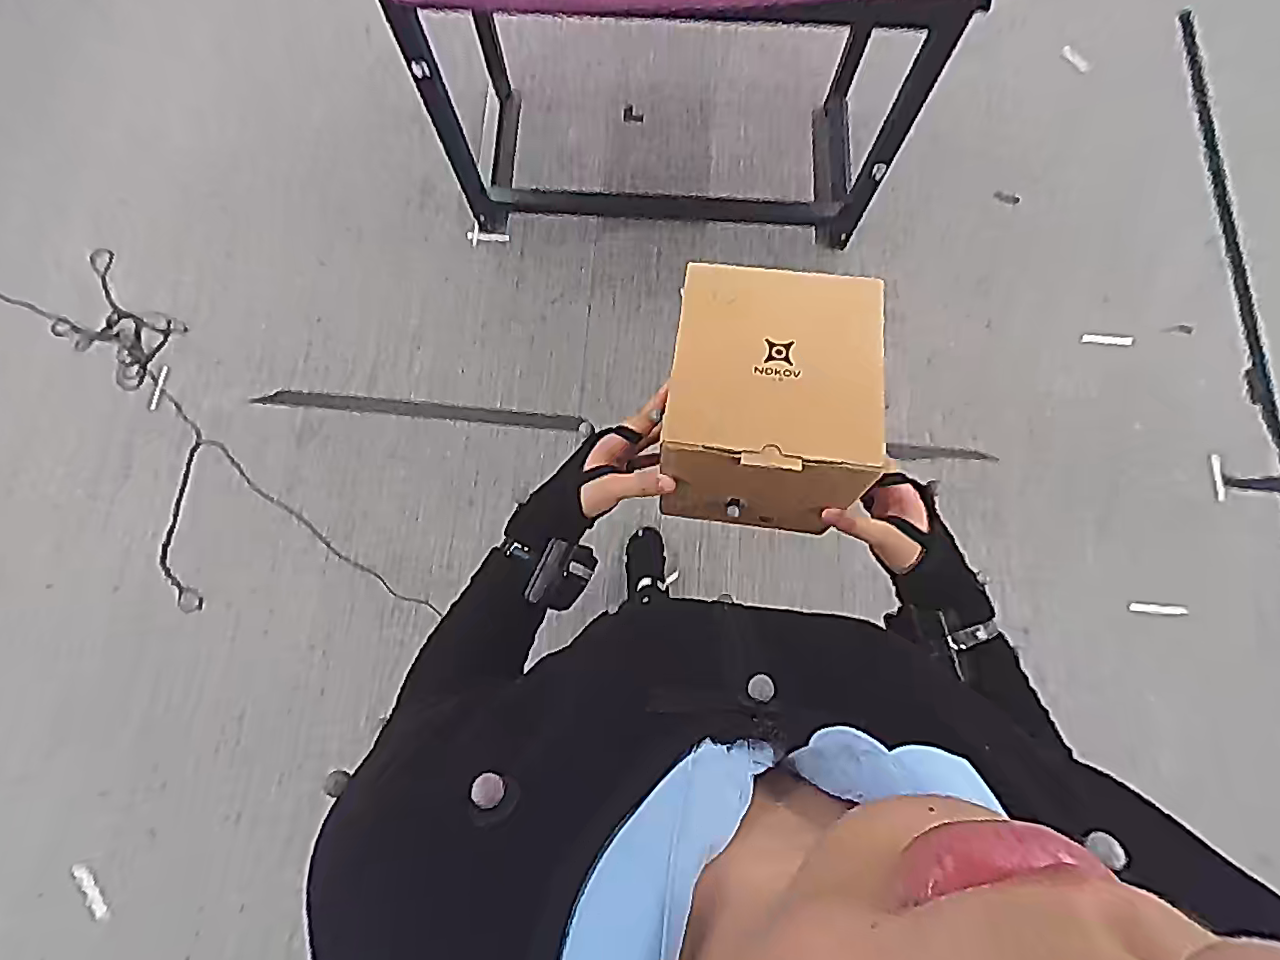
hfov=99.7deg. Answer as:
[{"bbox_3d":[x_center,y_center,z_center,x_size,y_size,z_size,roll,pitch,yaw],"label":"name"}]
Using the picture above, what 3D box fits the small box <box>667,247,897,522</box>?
[{"bbox_3d":[0.115,-0.077,0.492,0.168,0.176,0.179,7,69,5],"label":"small box"}]
